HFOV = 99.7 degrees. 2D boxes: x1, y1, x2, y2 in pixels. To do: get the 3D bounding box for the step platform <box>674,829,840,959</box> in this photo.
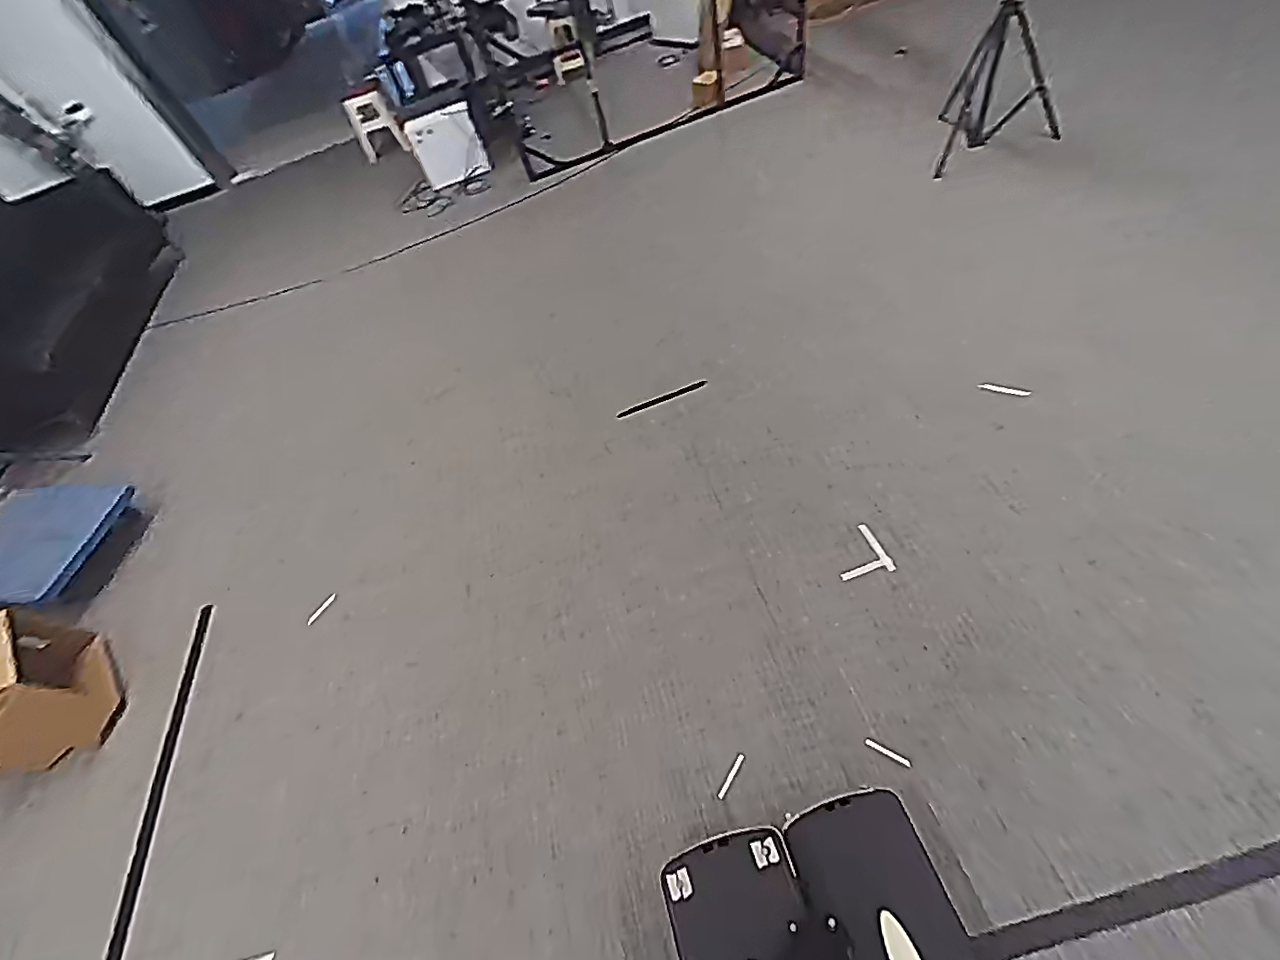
[{"bbox_3d":[0.296,1.086,1.042,0.286,0.204,0.684,-21,51,0],"label":"step platform"}]
